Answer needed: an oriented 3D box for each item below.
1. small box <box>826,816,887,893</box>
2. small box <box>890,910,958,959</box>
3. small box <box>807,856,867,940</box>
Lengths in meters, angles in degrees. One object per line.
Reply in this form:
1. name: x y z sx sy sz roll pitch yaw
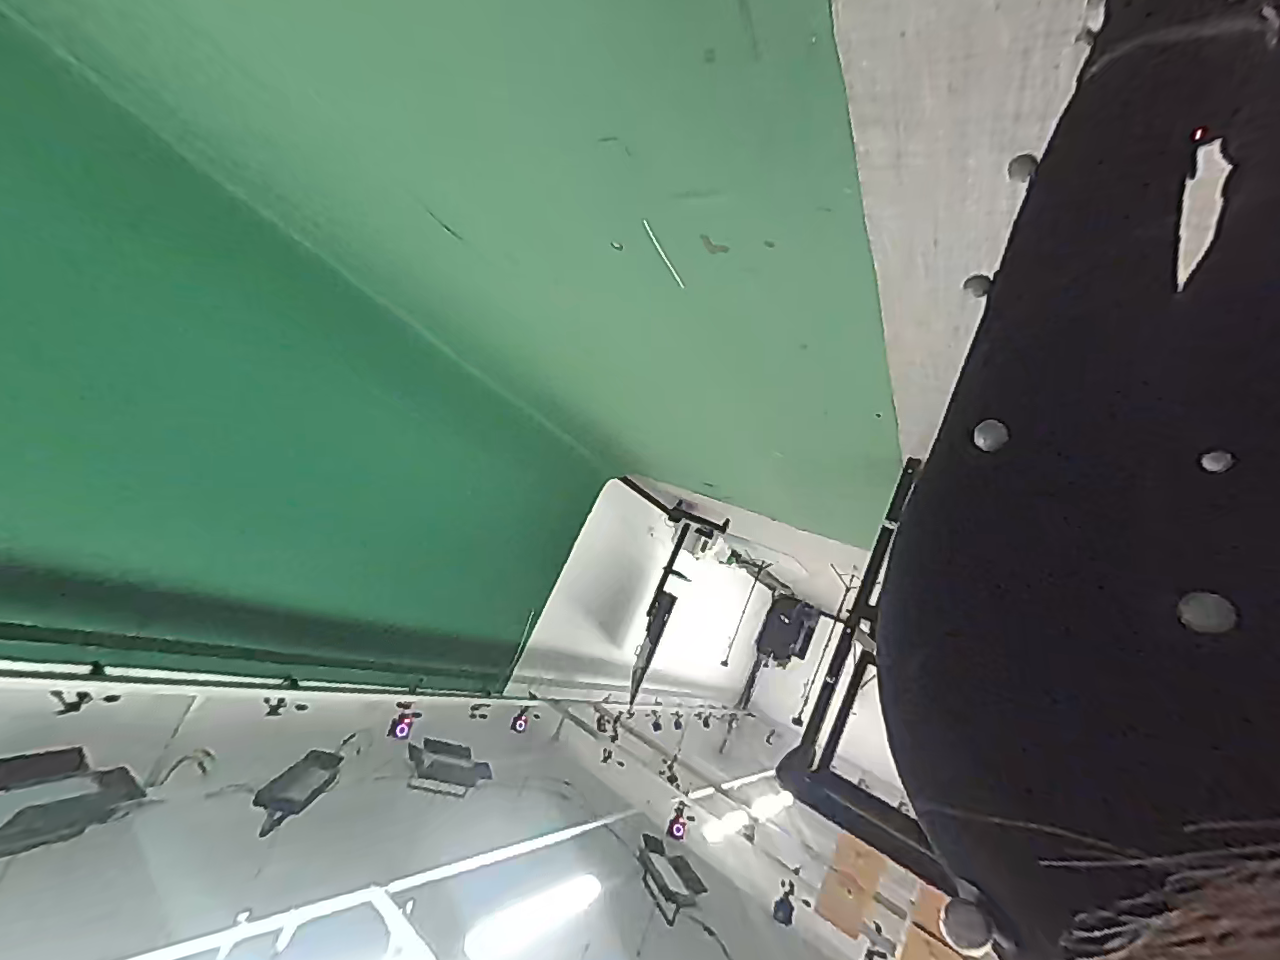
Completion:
1. small box: 0.821 1.408 2.044 0.168 0.176 0.179 19 168 34
2. small box: 0.970 1.626 1.849 0.168 0.176 0.179 19 168 31
3. small box: 0.745 1.550 2.020 0.168 0.176 0.179 18 167 31
